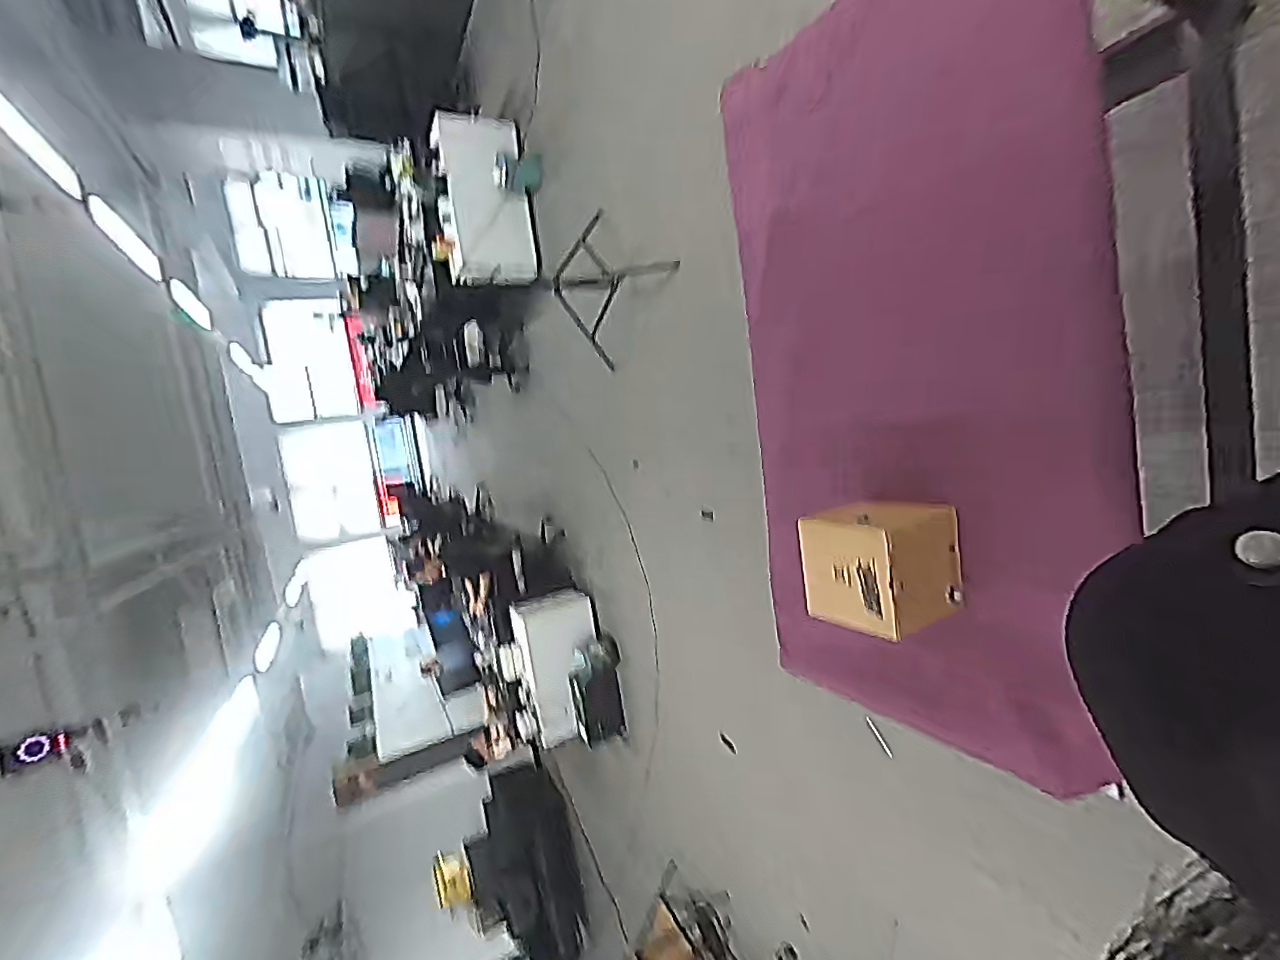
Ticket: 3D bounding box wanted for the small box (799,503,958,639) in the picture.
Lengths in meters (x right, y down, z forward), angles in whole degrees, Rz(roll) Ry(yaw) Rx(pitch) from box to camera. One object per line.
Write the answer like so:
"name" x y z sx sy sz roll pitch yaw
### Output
"small box" 0.391 0.135 0.882 0.179 0.176 0.168 2 101 62
